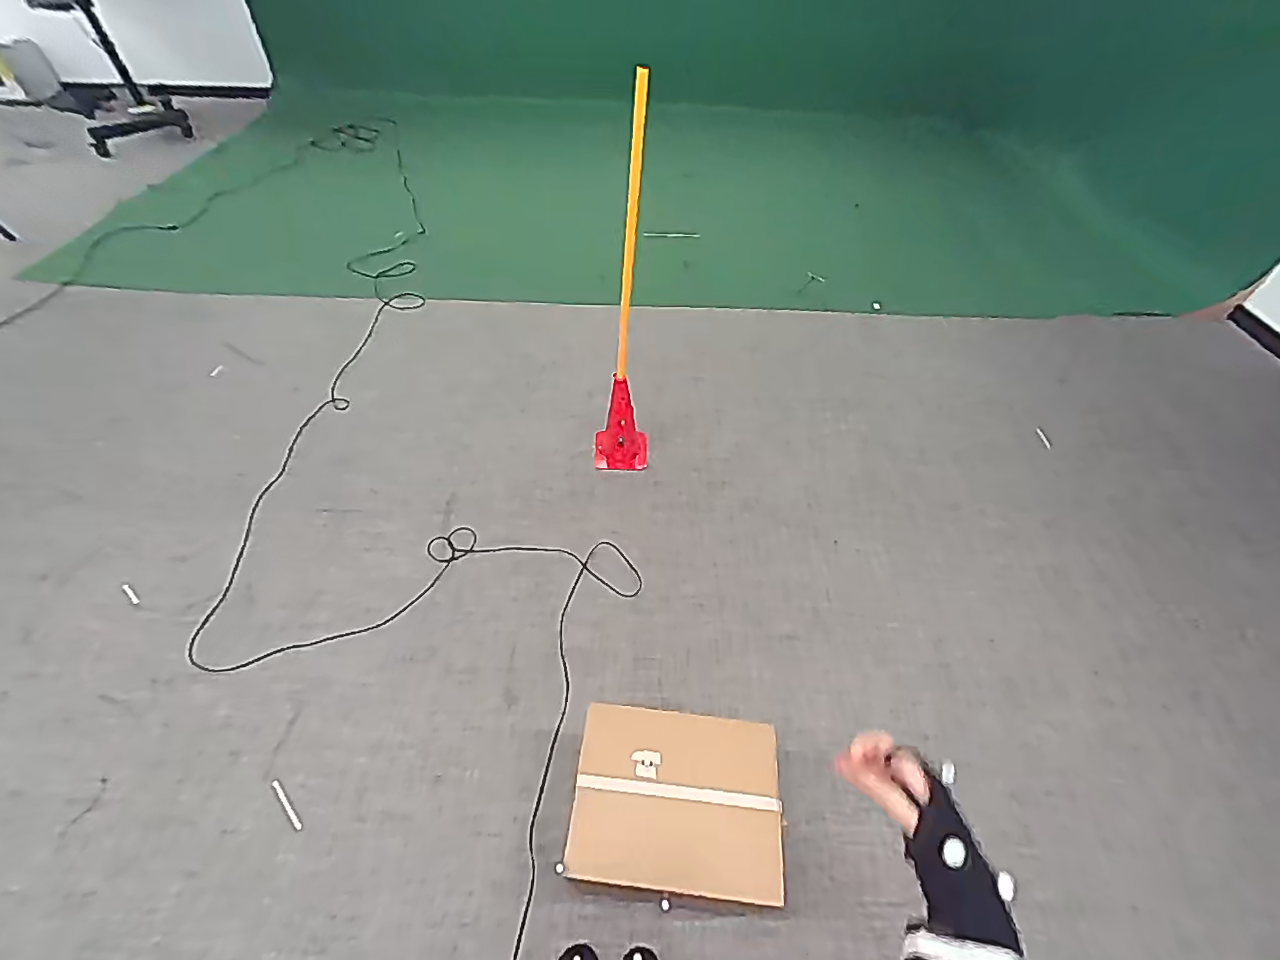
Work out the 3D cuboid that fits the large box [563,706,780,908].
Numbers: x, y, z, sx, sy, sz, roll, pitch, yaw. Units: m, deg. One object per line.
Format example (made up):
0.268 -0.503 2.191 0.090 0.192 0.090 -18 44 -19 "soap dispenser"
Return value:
0.069 0.722 1.187 0.408 0.320 0.320 6 49 4 "large box"
